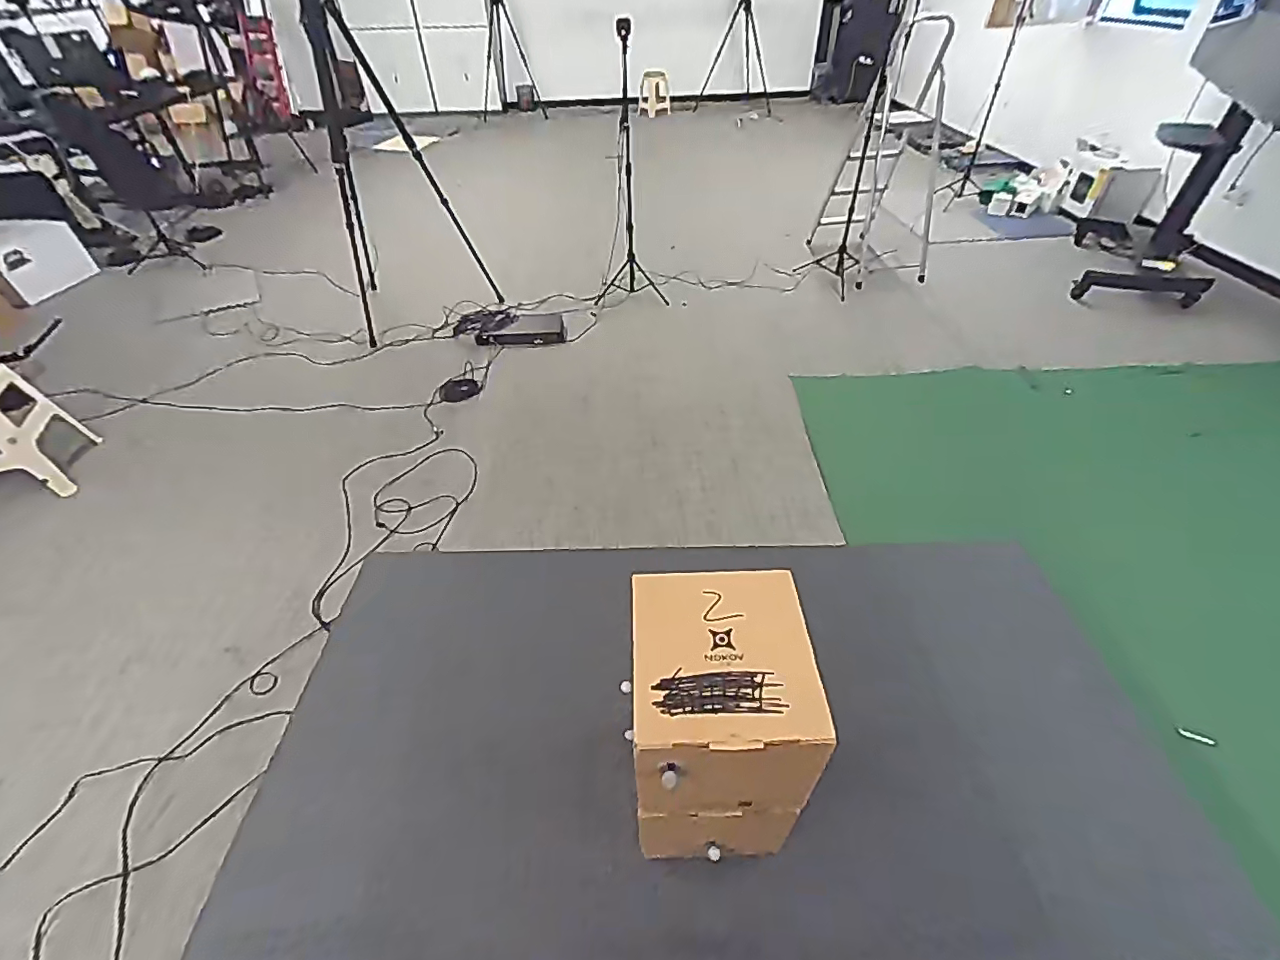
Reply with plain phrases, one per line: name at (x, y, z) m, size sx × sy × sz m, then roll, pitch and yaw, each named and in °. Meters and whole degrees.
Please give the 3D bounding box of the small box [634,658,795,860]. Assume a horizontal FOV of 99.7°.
small box at (0.076, 0.341, 0.664) m, size 0.168 × 0.176 × 0.179 m, roll -2°, pitch 43°, yaw 0°
